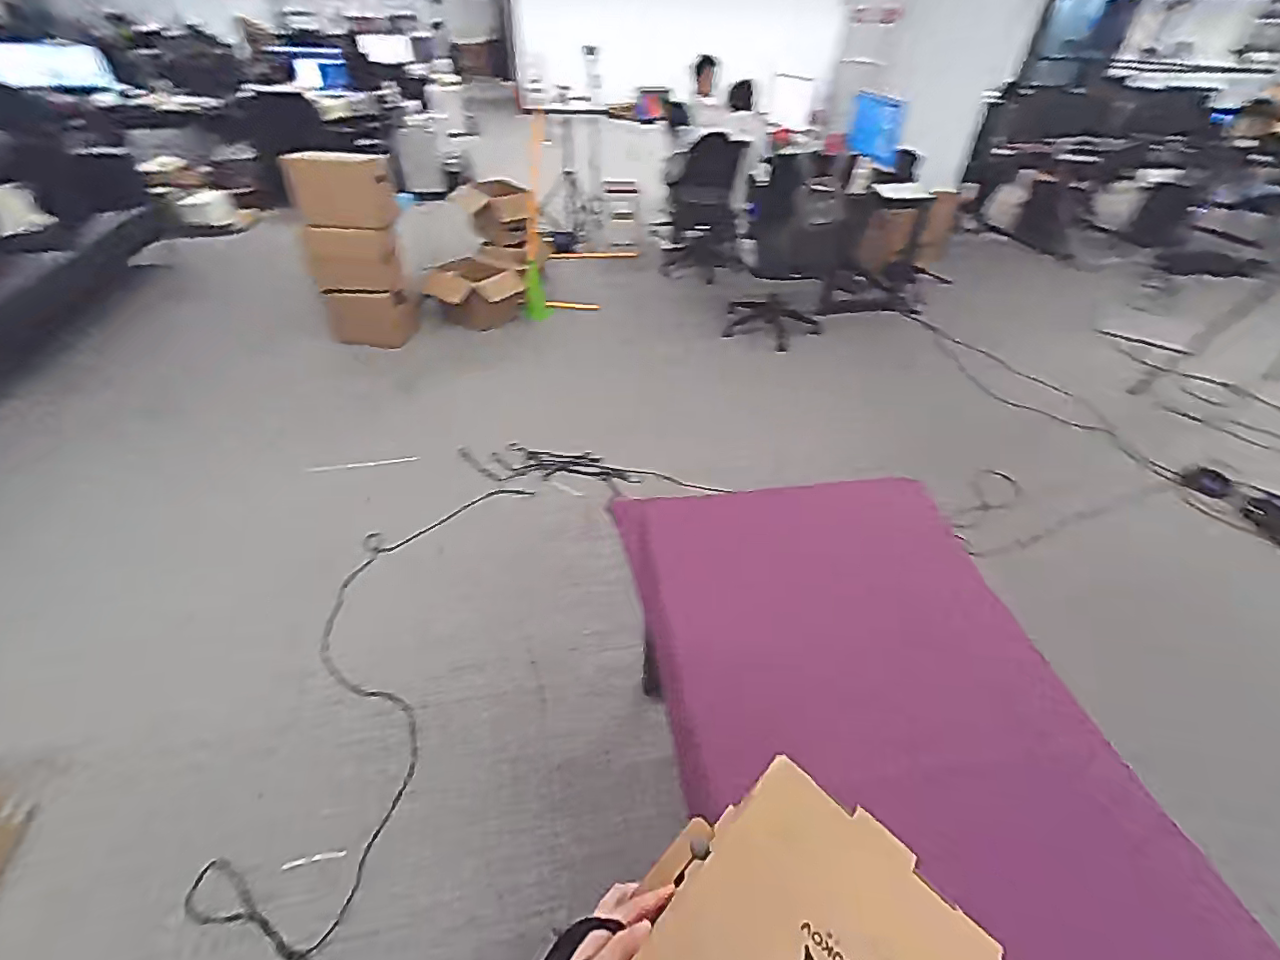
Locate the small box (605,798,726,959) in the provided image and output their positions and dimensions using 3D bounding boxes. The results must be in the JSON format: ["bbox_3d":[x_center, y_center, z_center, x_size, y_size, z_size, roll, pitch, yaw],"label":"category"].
[{"bbox_3d":[0.080,0.447,0.498,0.179,0.176,0.168,36,51,27],"label":"small box"}]

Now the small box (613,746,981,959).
[{"bbox_3d":[0.089,0.335,0.375,0.168,0.176,0.179,35,50,26],"label":"small box"}]
